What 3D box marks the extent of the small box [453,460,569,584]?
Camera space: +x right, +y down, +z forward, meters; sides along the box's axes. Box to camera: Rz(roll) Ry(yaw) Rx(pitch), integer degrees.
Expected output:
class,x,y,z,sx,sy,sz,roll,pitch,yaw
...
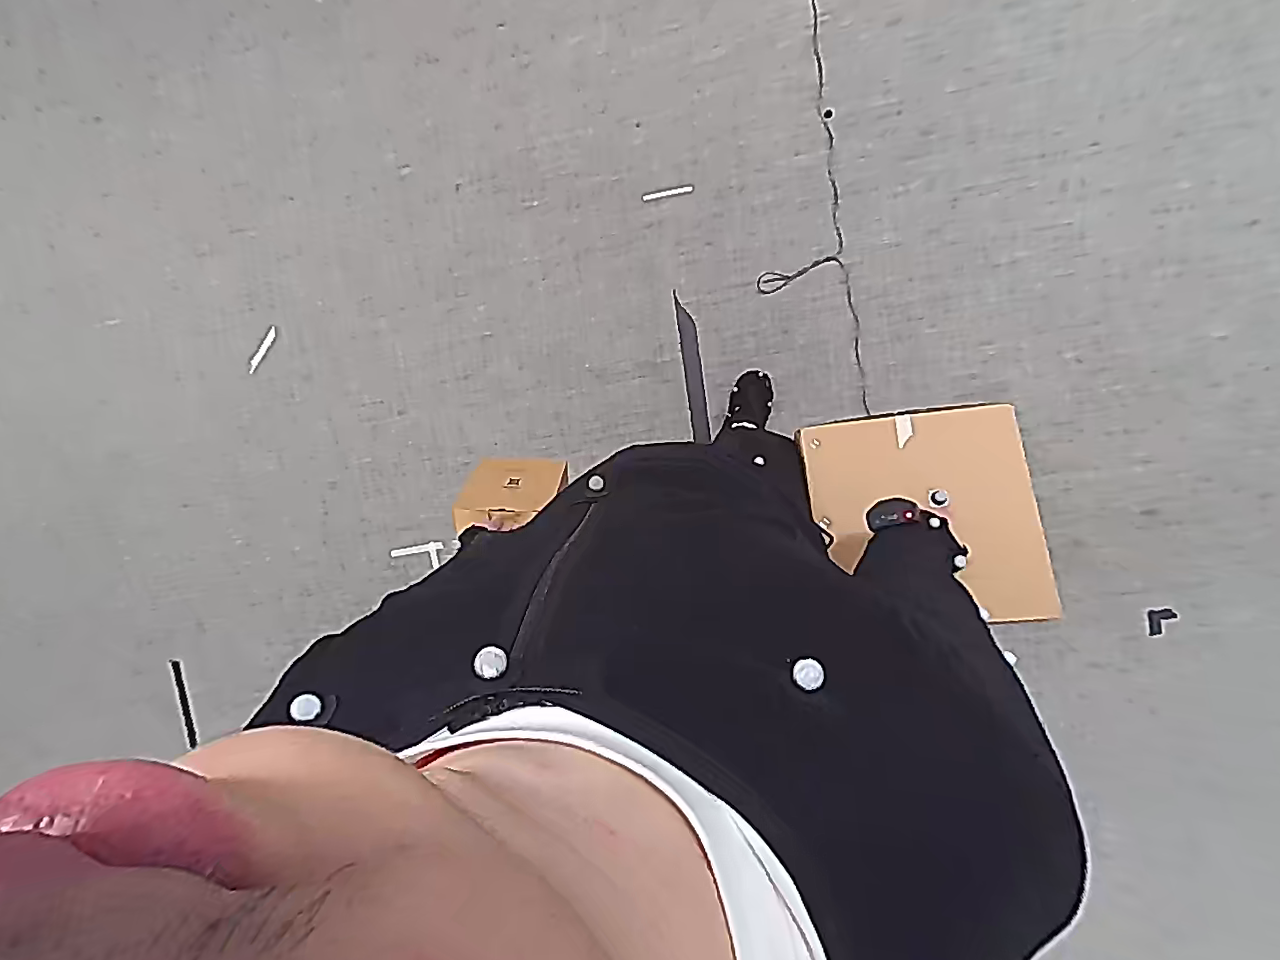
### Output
class,x,y,z,sx,sy,sz,roll,pitch,yaw
small box,-0.229,0.077,1.013,0.168,0.179,0.176,2,120,2
